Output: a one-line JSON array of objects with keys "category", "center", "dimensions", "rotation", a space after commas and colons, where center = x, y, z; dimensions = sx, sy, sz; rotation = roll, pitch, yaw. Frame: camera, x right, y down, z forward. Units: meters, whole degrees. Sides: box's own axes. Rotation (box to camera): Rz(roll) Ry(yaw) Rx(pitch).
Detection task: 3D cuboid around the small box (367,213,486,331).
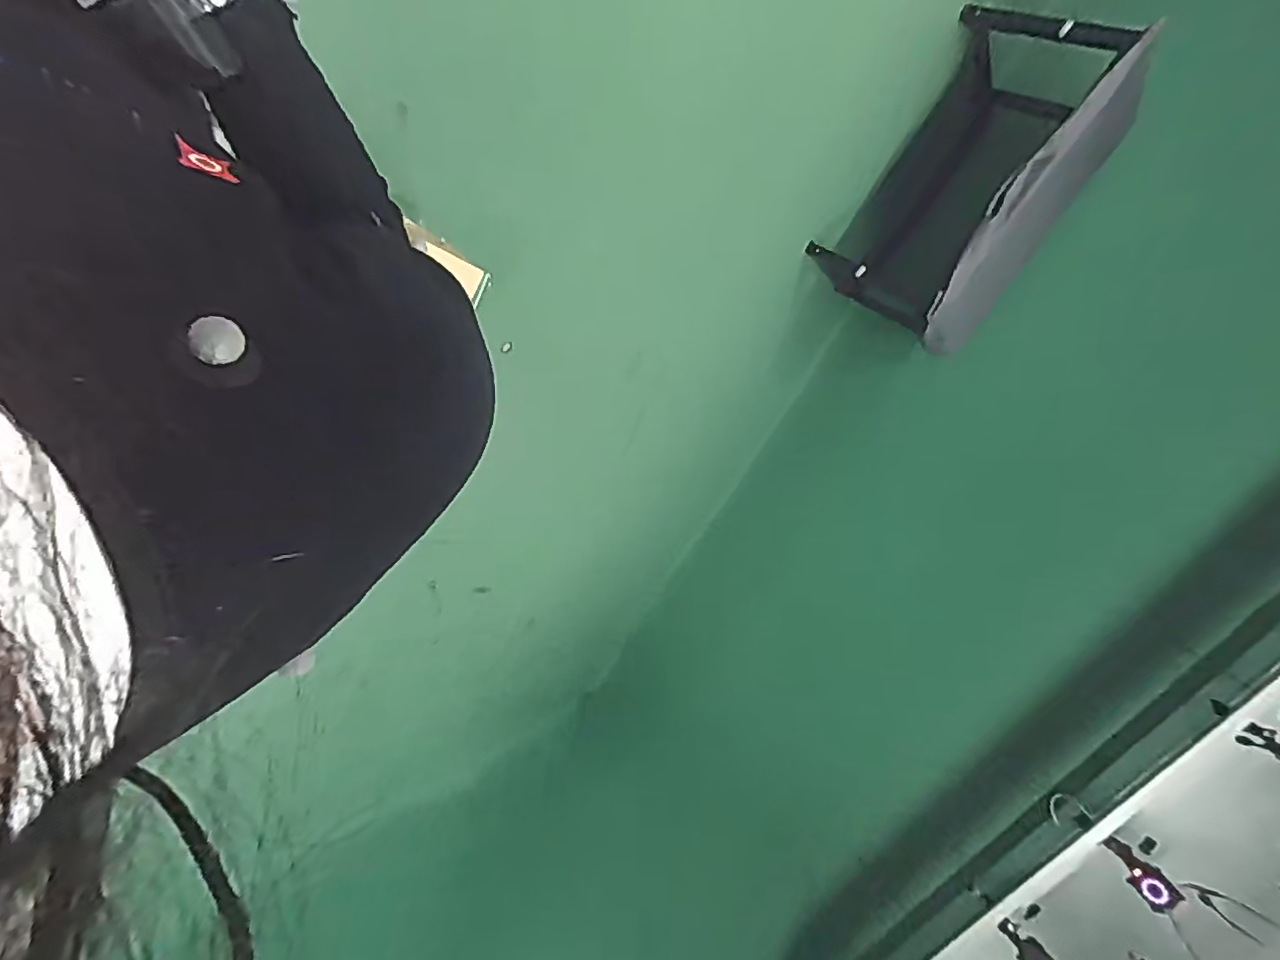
[{"category": "small box", "center": [-0.499, -0.482, 1.254], "dimensions": [0.168, 0.176, 0.179], "rotation": [10, 118, -56]}]
